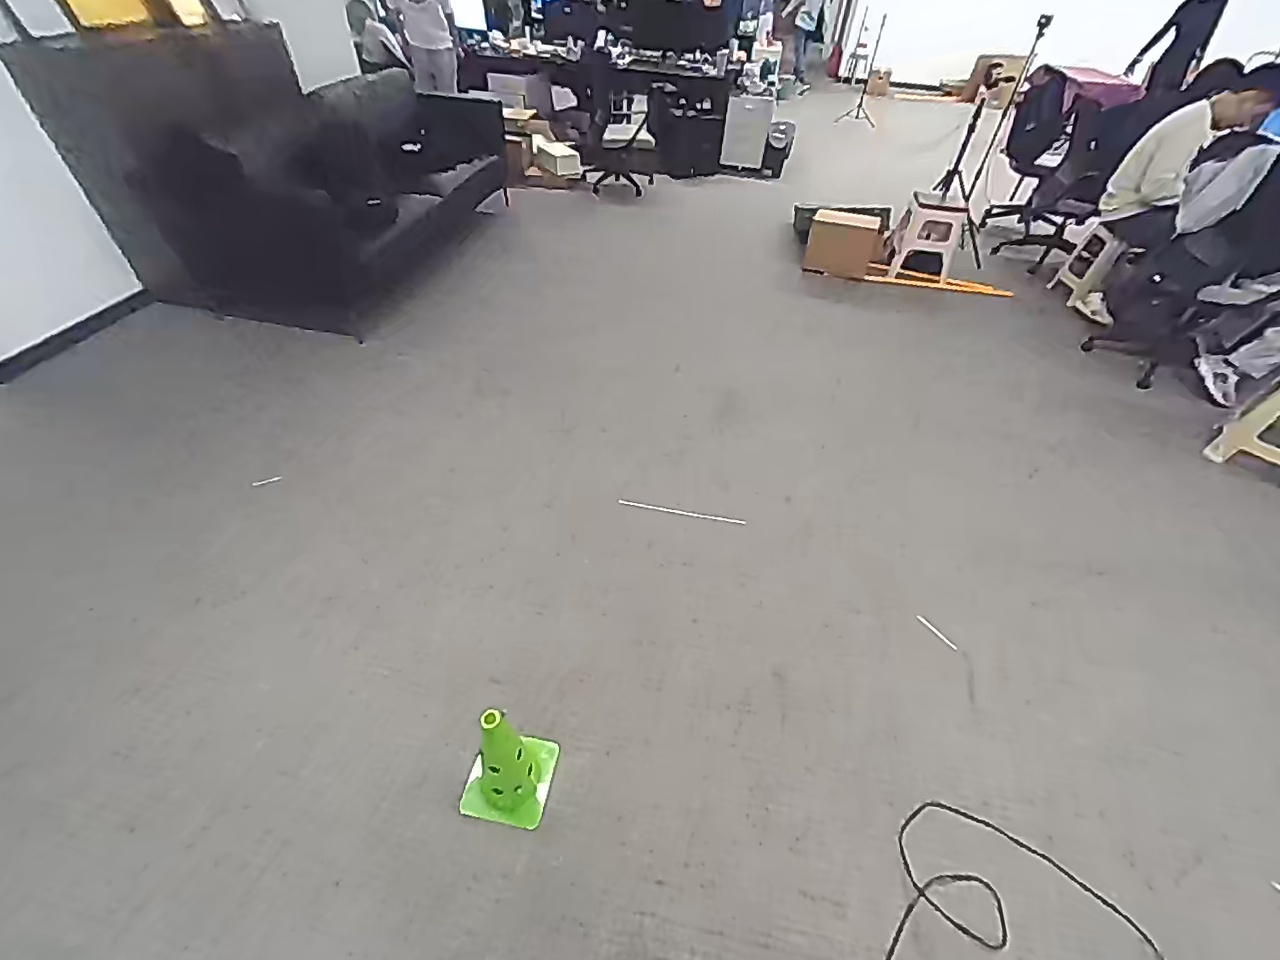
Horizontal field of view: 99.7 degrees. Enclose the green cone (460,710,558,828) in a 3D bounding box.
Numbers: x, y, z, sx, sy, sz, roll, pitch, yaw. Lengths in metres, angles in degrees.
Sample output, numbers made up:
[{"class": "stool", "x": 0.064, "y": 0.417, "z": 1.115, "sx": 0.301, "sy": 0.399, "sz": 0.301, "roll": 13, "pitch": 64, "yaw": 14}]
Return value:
[{"class": "green cone", "x": -0.311, "y": 0.616, "z": 1.226, "sx": 0.202, "sy": 0.368, "sz": 0.200, "roll": 10, "pitch": 45, "yaw": 5}]
